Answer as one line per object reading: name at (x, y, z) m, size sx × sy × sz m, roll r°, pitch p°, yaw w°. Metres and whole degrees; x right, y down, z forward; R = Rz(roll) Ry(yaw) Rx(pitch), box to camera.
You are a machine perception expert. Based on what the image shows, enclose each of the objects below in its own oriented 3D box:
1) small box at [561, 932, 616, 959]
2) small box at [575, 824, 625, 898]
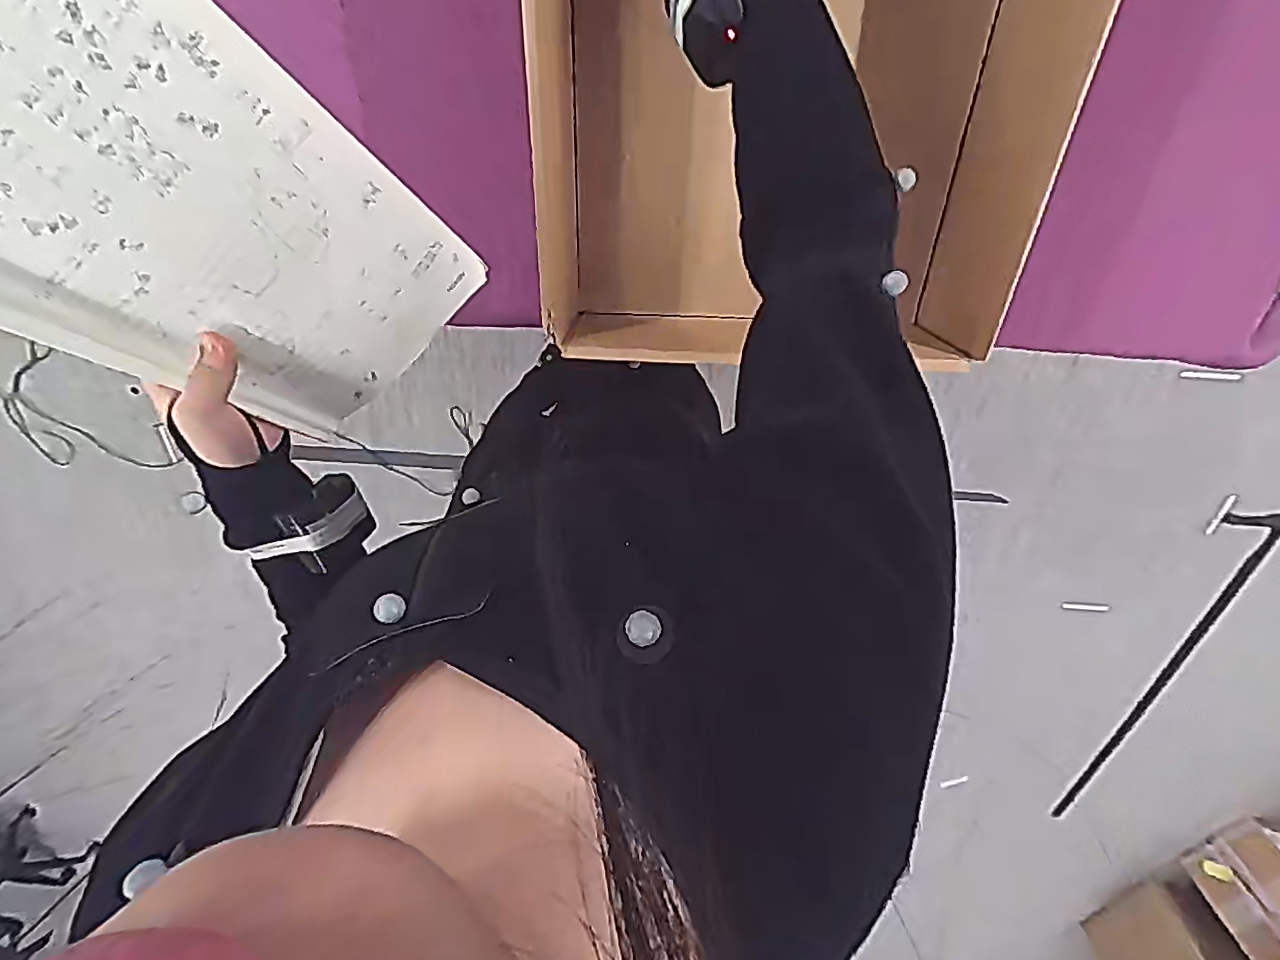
small box at (-0.163, 1.552, 1.686) m, size 0.168 × 0.176 × 0.179 m, roll 3°, pitch 120°, yaw 0°
small box at (-0.142, 1.385, 1.969) m, size 0.168 × 0.176 × 0.179 m, roll 1°, pitch 121°, yaw 2°
